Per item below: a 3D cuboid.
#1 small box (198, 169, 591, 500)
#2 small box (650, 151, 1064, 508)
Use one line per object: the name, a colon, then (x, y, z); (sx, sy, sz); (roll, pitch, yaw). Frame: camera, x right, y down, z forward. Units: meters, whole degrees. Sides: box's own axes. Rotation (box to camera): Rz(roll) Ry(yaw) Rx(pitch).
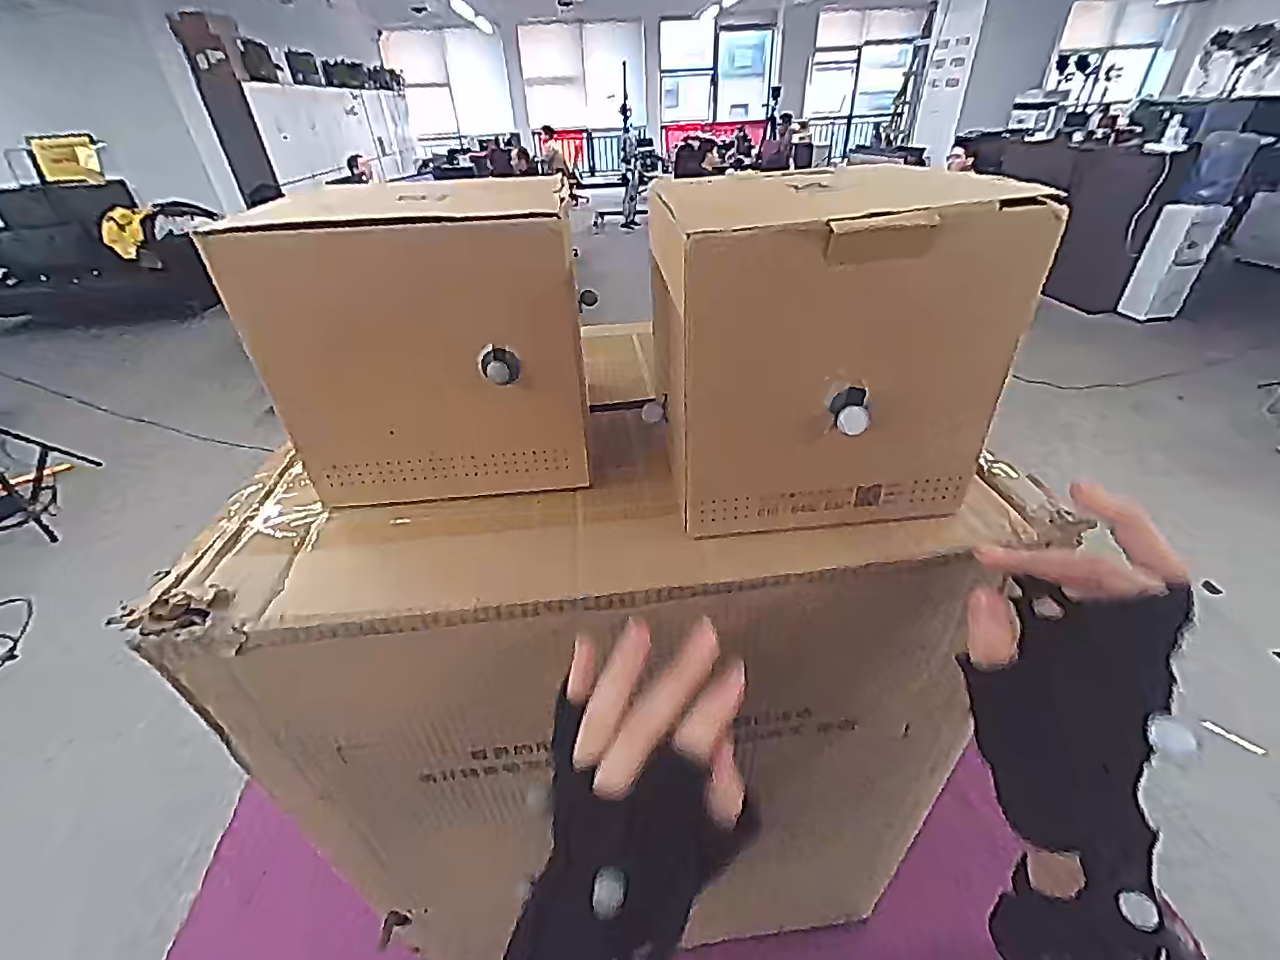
small box: (-0.125, -0.103, 0.366); (0.179, 0.176, 0.168); (-6, 34, -3)
small box: (0.099, -0.094, 0.338); (0.168, 0.176, 0.179); (-6, 35, -1)
